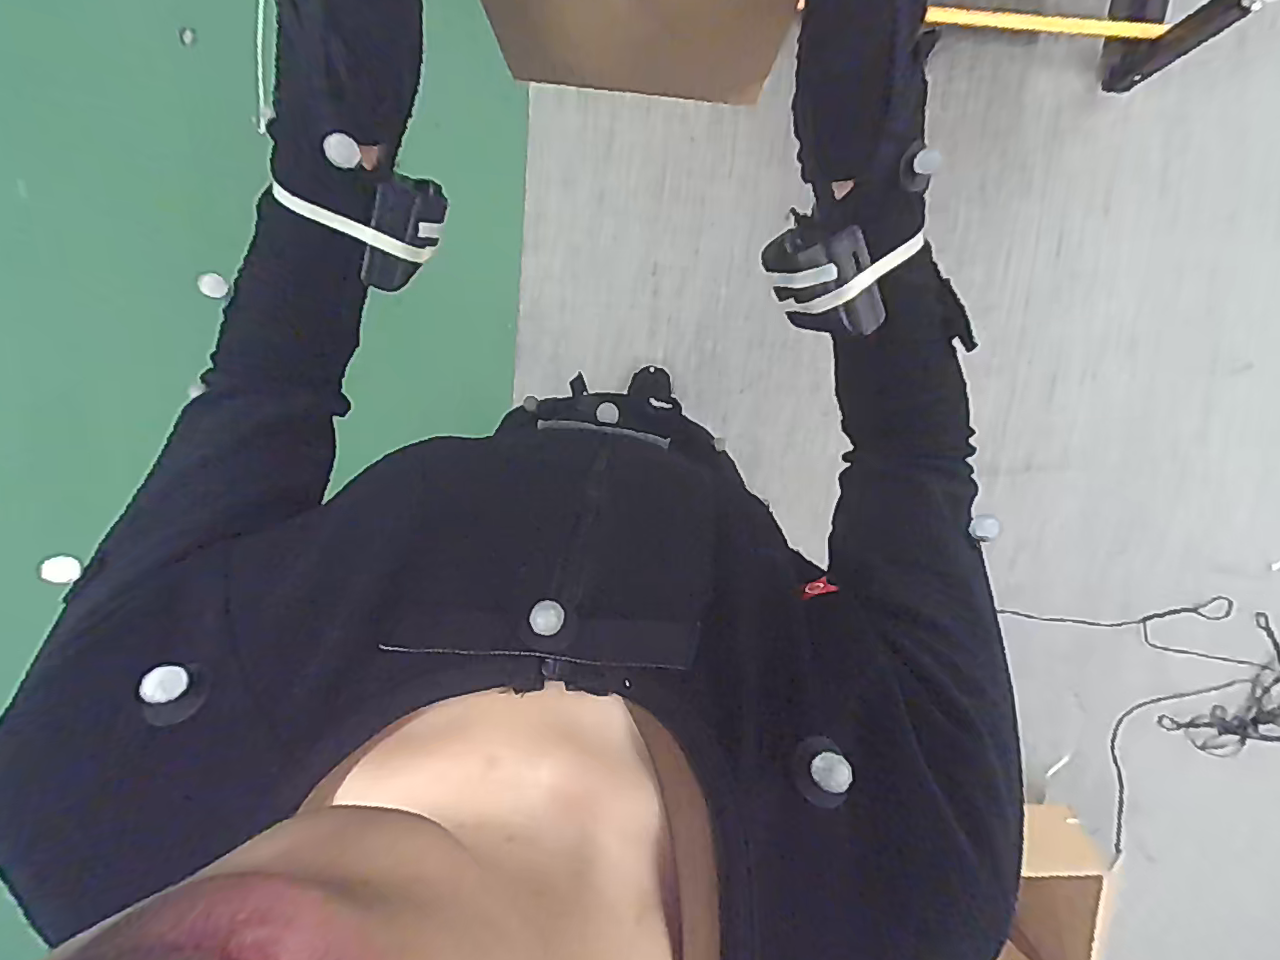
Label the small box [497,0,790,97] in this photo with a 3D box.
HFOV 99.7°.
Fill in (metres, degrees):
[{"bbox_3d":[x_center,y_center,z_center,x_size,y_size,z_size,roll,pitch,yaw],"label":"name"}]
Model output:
[{"bbox_3d":[0.006,-0.342,0.291,0.179,0.176,0.168,5,100,-2],"label":"small box"}]
